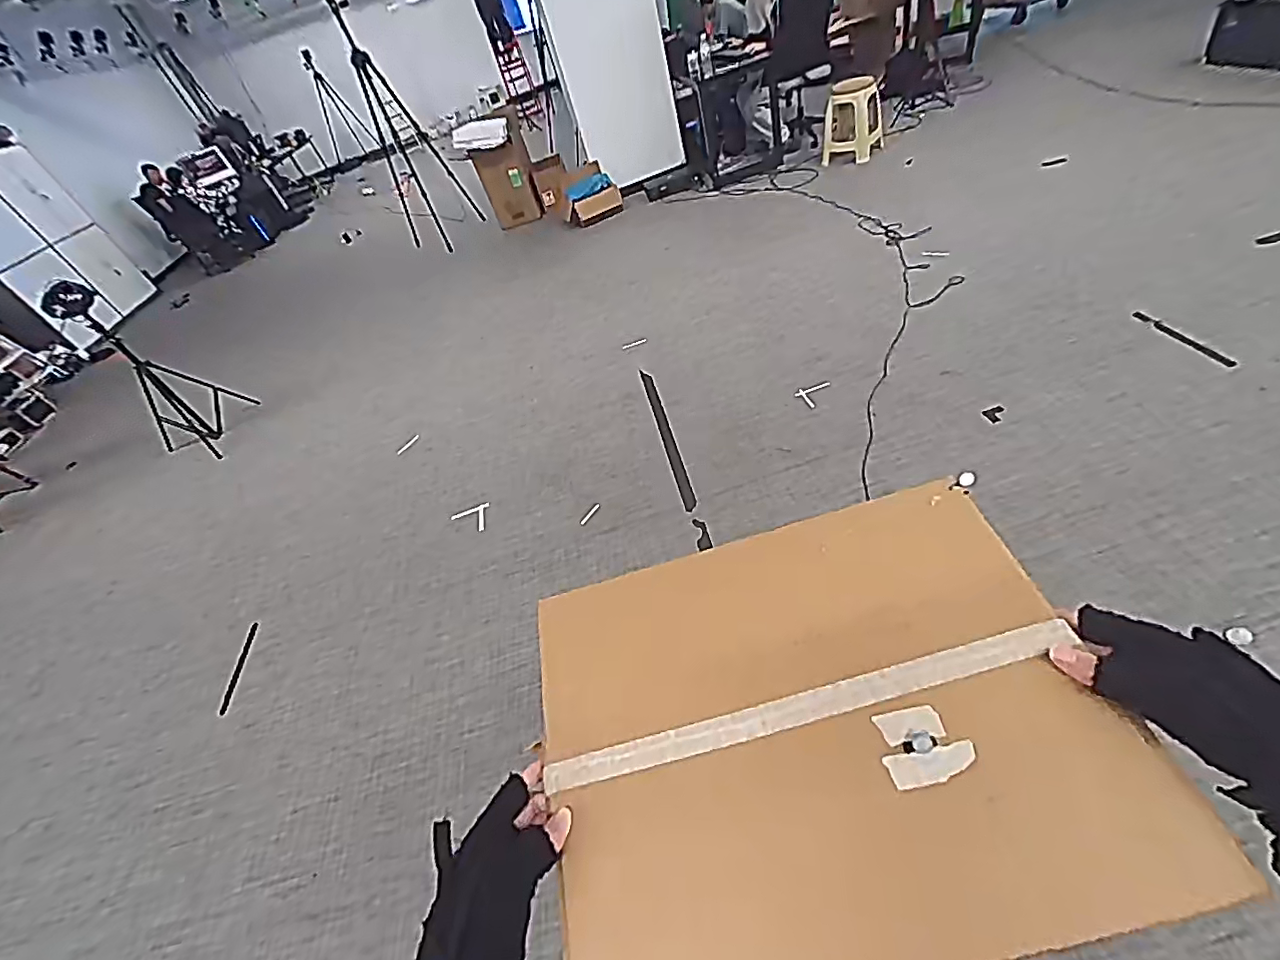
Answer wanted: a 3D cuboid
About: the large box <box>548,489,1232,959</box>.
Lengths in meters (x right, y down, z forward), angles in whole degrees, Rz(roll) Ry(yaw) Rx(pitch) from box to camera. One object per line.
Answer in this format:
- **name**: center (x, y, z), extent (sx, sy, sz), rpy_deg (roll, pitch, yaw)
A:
- **large box**: center (0.162, 0.271, 0.530), extent (0.408, 0.320, 0.320), rpy_deg (-18, 50, 3)
